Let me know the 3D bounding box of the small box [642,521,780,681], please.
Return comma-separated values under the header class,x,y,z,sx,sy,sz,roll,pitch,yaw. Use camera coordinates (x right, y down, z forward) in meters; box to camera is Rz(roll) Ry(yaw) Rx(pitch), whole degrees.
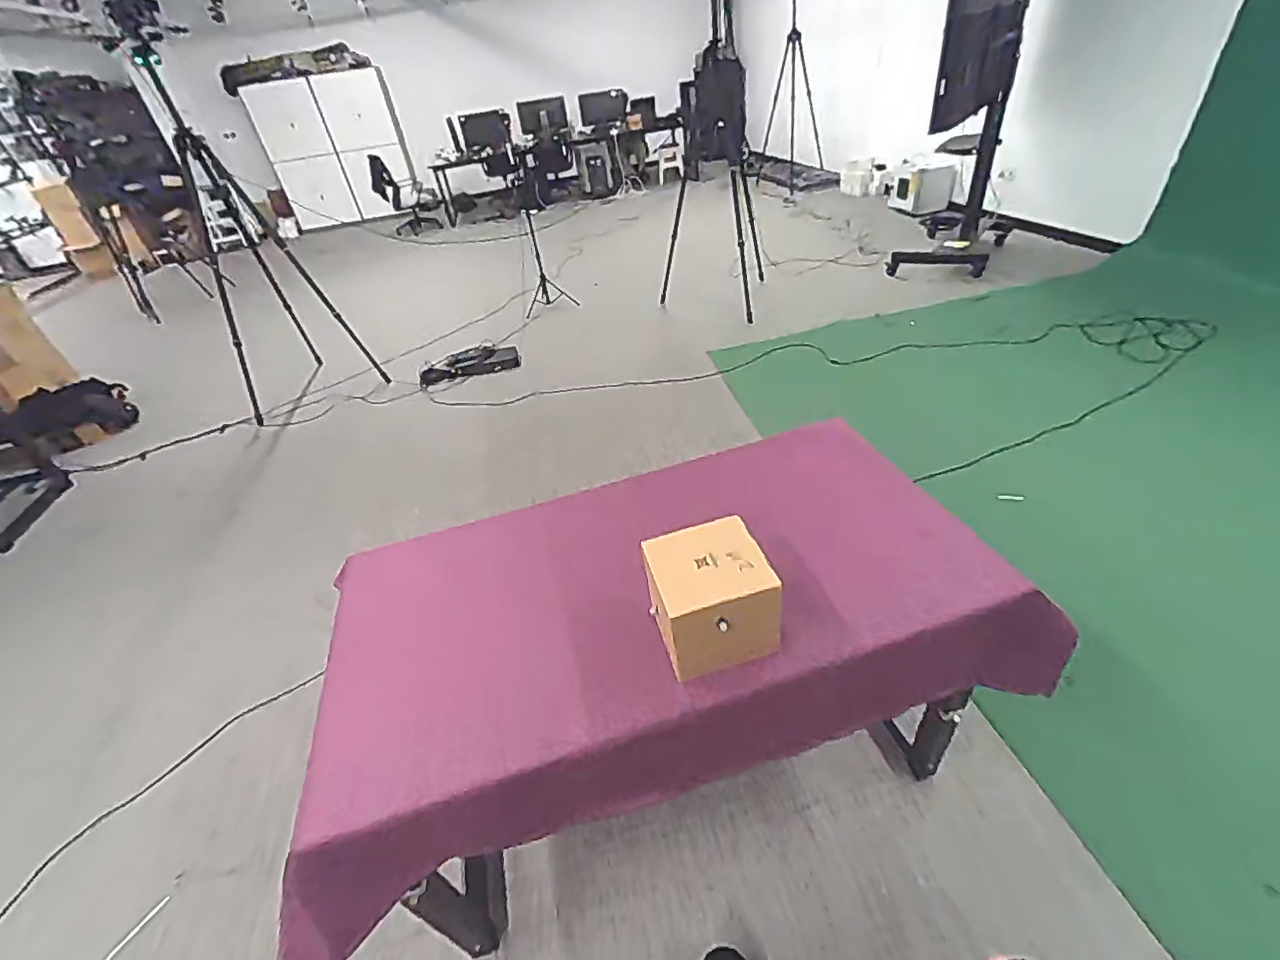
class,x,y,z,sx,sy,sz,roll,pitch,yaw
small box,0.115,0.199,0.884,0.179,0.176,0.168,-14,38,-7
